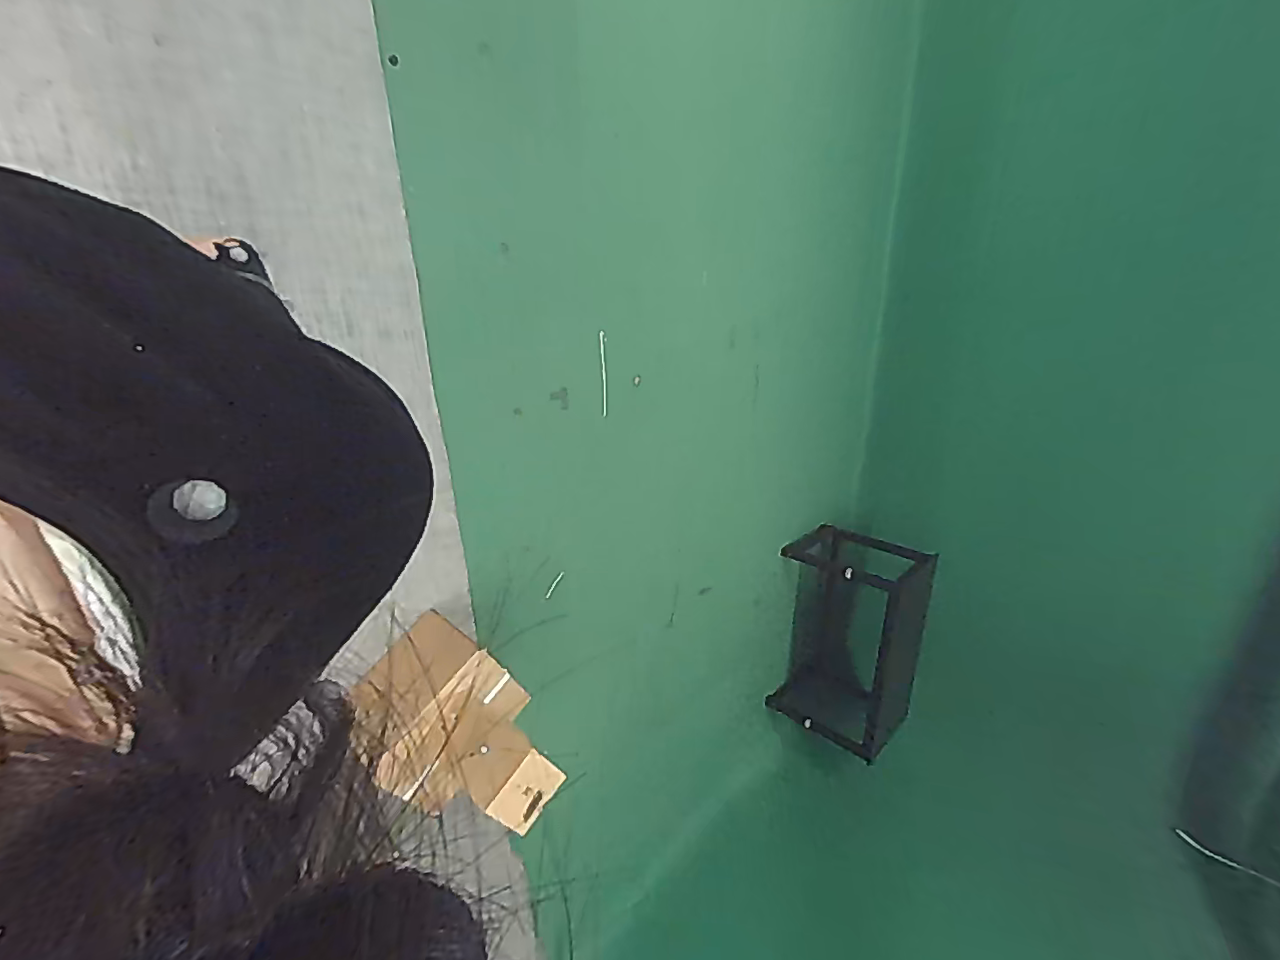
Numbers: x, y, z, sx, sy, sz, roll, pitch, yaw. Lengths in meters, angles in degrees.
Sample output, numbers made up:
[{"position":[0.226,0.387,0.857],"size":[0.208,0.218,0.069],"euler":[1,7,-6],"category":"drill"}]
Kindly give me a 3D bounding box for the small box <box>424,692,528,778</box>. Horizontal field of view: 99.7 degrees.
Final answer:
[{"position":[-0.447,0.712,1.477],"size":[0.168,0.176,0.179],"euler":[-52,134,-22],"category":"small box"}]

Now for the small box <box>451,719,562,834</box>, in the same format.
[{"position":[-0.335,0.739,1.361],"size":[0.168,0.176,0.179],"euler":[-49,132,-25],"category":"small box"}]
